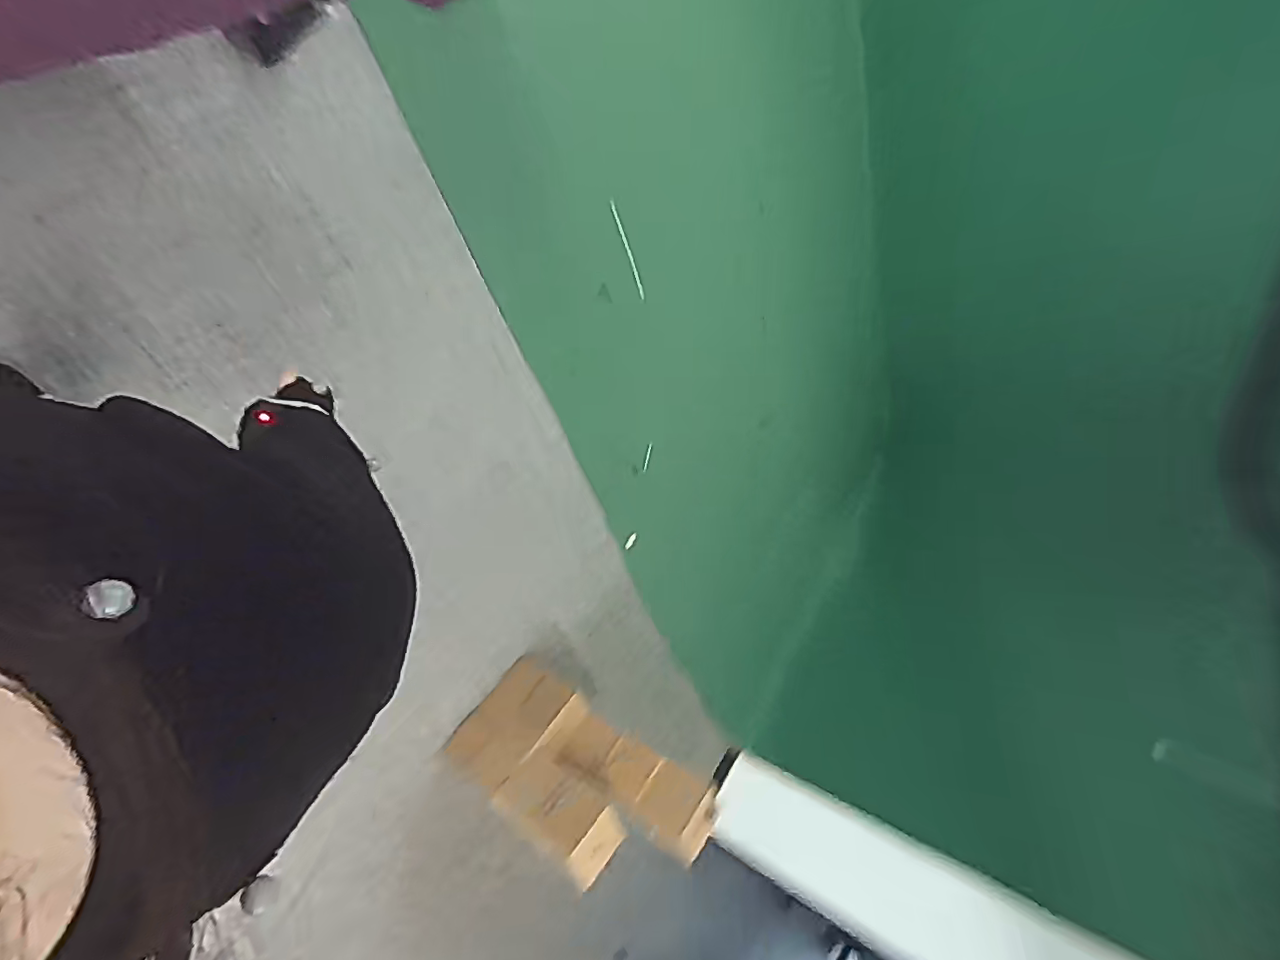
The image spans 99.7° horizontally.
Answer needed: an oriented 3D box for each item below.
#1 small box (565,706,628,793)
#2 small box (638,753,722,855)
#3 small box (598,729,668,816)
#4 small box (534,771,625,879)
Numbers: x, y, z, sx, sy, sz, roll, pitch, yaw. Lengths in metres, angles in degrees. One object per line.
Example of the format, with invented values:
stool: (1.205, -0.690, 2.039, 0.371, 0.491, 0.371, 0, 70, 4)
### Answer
small box: (-0.131, 0.912, 1.840, 0.179, 0.176, 0.168, -49, 134, -30)
small box: (0.122, 0.973, 1.640, 0.179, 0.176, 0.168, -42, 129, -35)
small box: (-0.006, 0.938, 1.739, 0.168, 0.176, 0.179, -47, 132, -31)
small box: (-0.172, 0.978, 1.549, 0.168, 0.176, 0.179, -40, 128, -36)
